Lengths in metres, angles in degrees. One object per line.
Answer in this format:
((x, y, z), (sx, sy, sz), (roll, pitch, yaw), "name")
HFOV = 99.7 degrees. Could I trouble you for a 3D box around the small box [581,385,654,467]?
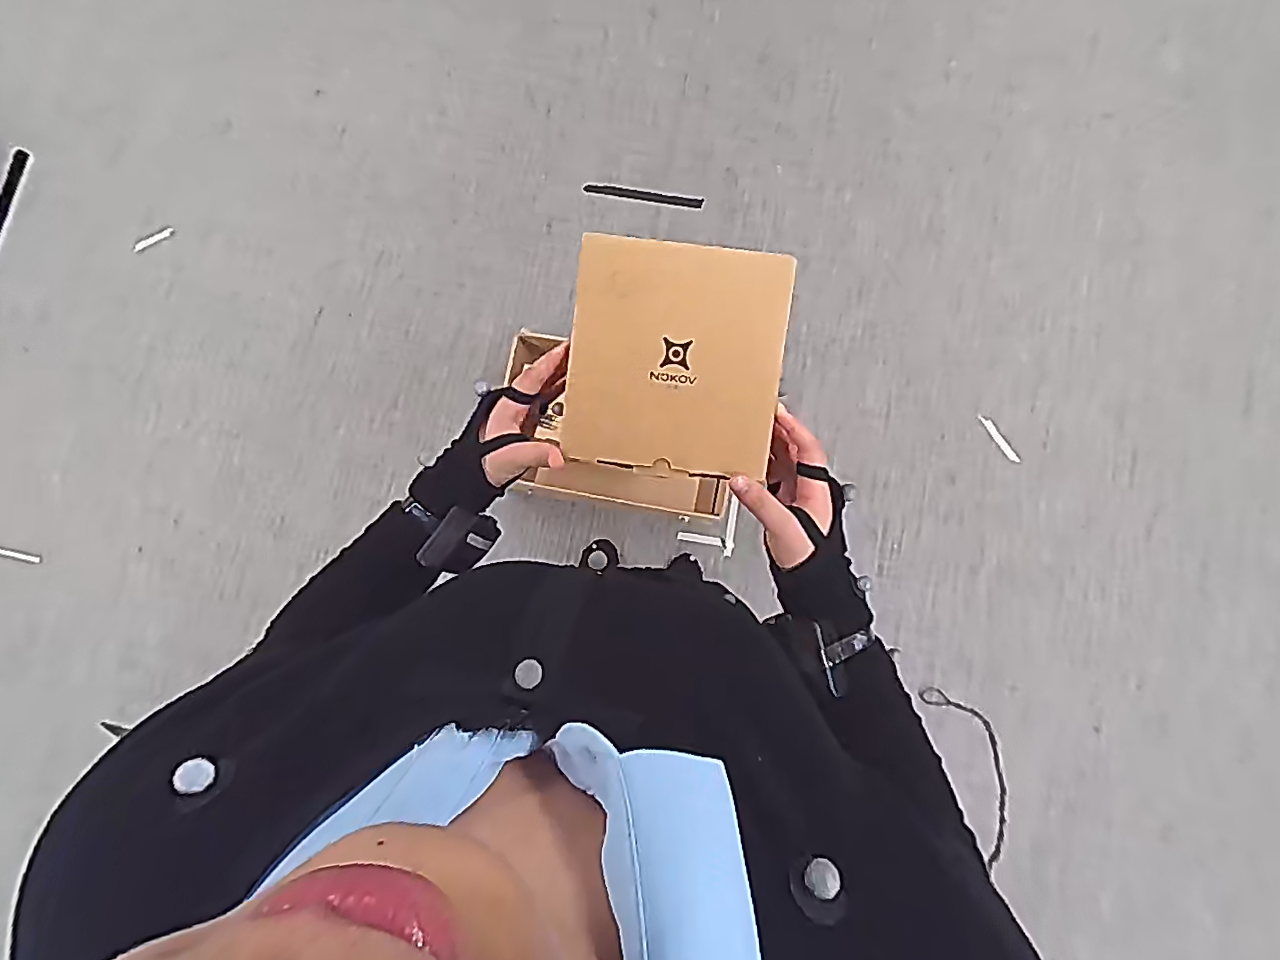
((-0.054, -0.135, 1.424), (0.168, 0.176, 0.179), (7, 84, 2), "small box")
